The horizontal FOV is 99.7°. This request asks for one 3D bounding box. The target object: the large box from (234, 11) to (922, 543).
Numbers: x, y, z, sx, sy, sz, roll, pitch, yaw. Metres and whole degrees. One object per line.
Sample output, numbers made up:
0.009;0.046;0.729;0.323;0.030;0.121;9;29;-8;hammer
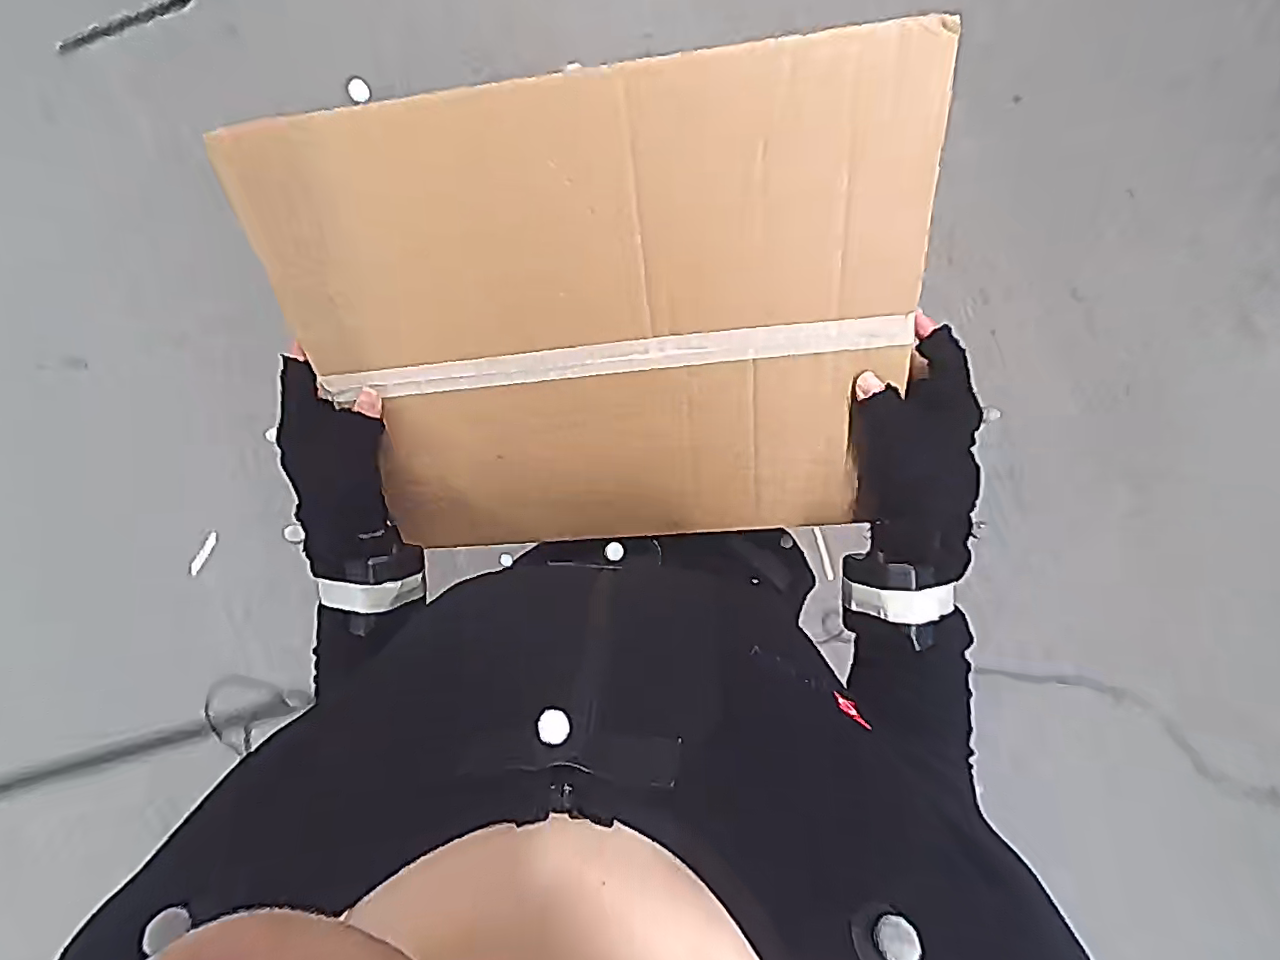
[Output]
-0.023;-0.172;0.502;0.408;0.320;0.320;-6;124;7;large box
